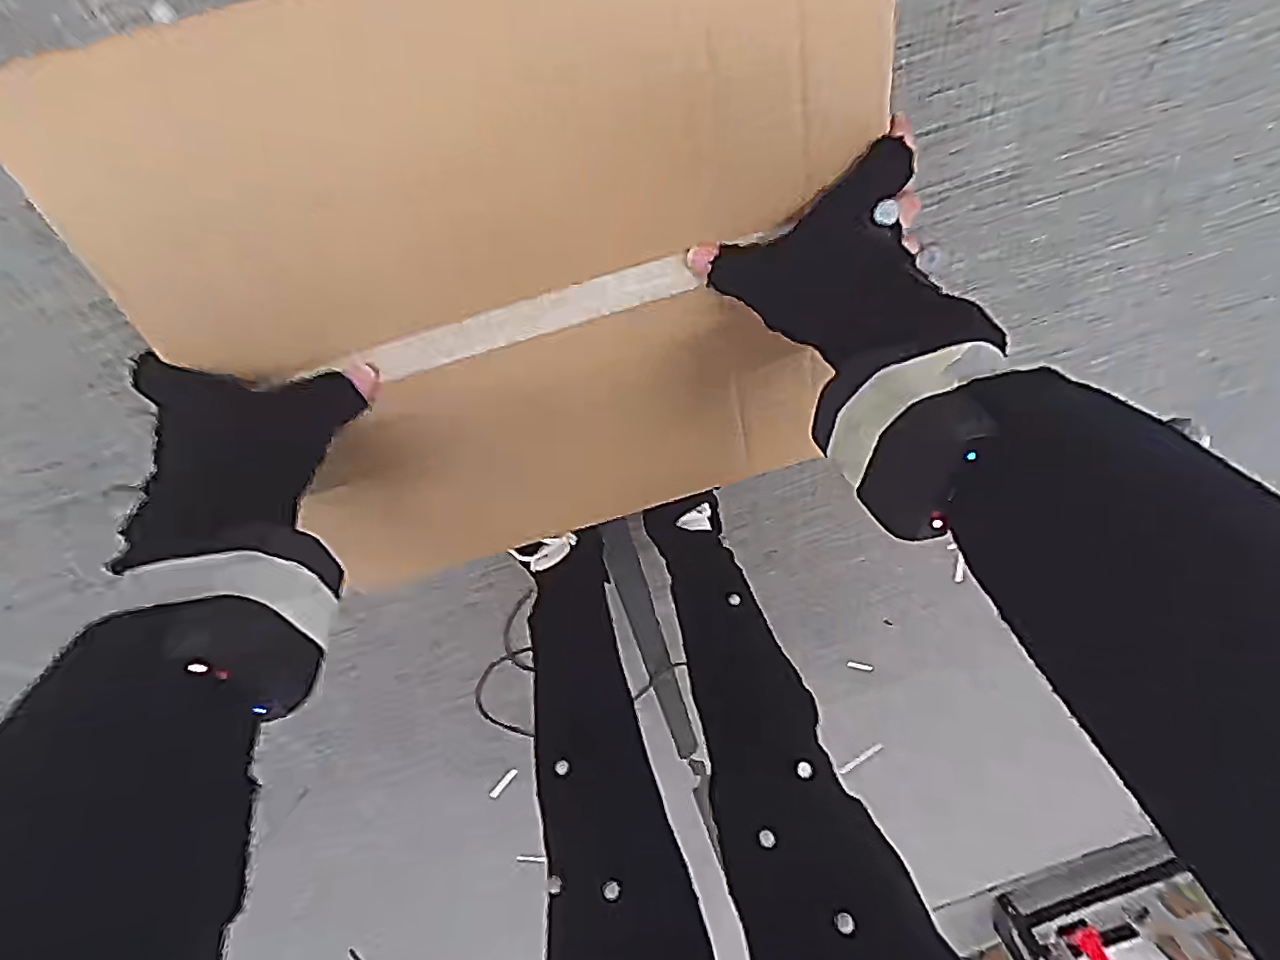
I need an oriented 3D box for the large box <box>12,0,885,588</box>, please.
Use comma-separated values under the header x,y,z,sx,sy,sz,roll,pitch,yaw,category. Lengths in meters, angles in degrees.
x,y,z,sx,sy,sz,roll,pitch,yaw,category
-0.077,-0.176,0.439,0.408,0.320,0.320,-17,127,-2,large box
